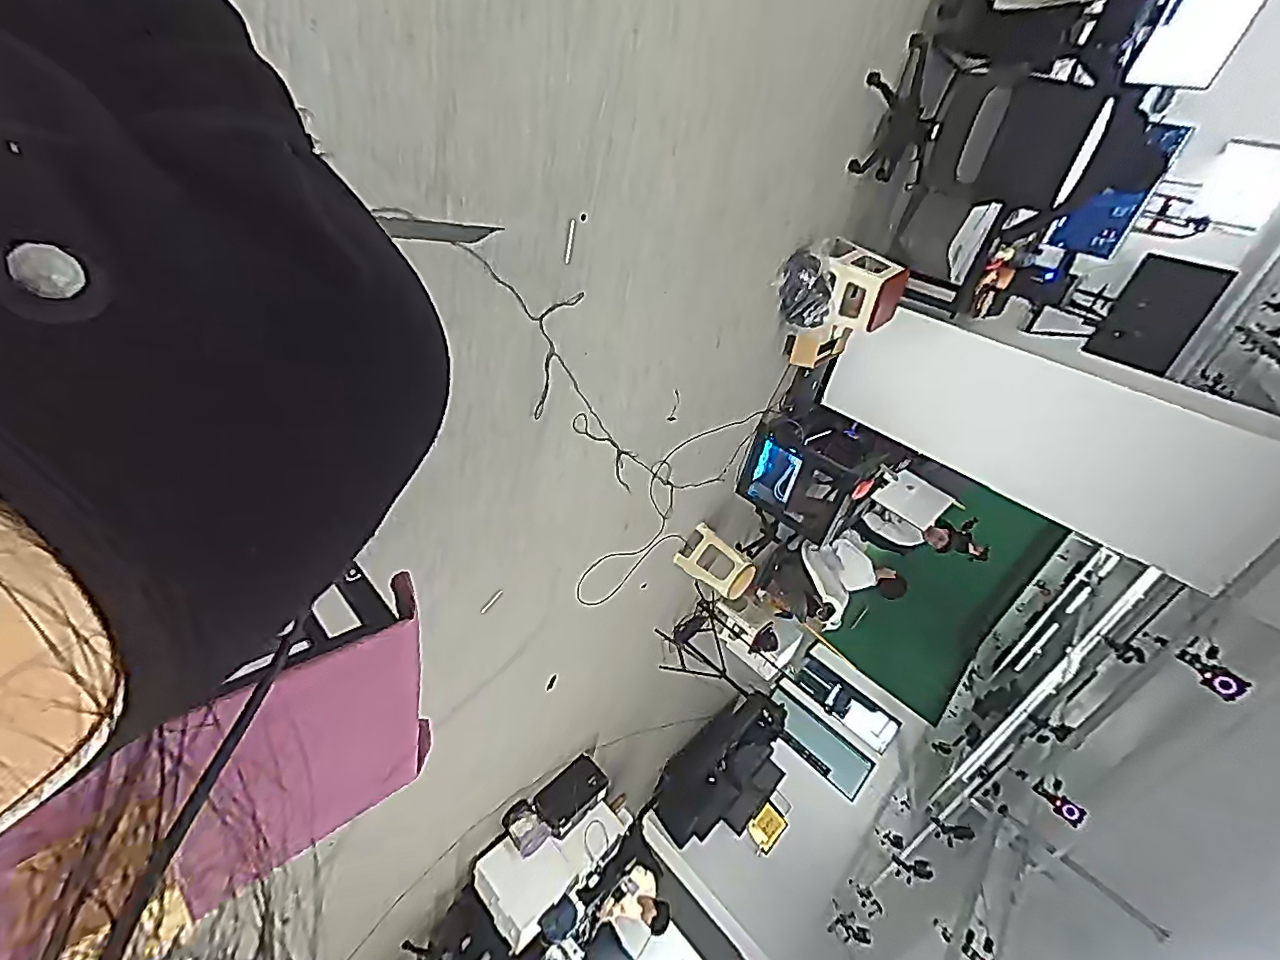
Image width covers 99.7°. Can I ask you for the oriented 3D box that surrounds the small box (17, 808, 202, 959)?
[{"bbox_3d":[-0.822,0.658,0.844,0.168,0.176,0.179,-19,136,-44],"label":"small box"}]
